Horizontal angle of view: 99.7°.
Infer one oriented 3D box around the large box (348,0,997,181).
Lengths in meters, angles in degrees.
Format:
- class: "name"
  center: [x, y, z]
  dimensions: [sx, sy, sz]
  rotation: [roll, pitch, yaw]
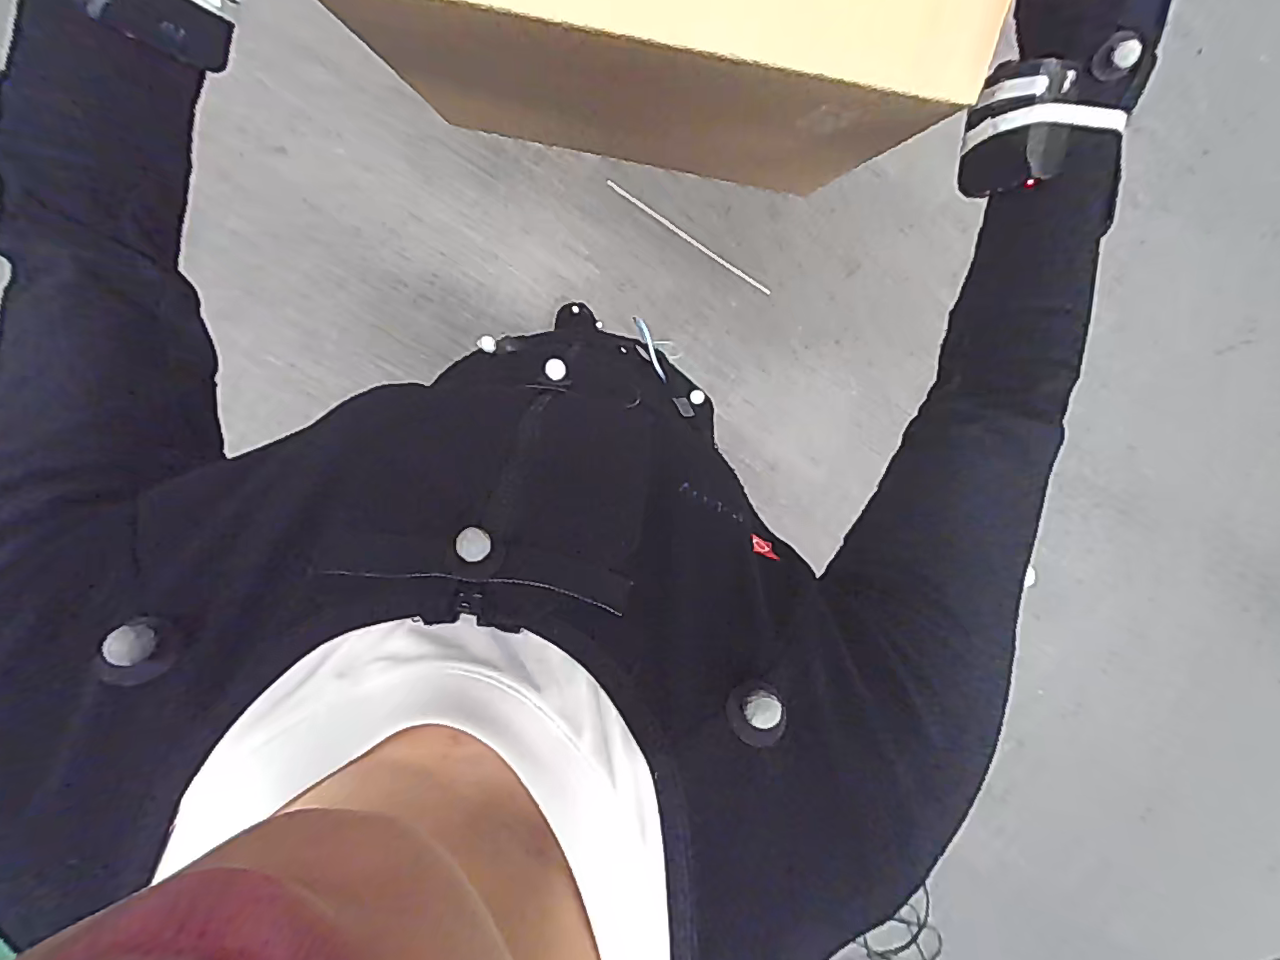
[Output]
- class: "large box"
  center: [0.020, -0.453, 0.406]
  dimensions: [0.408, 0.320, 0.320]
  rotation: [7, 109, -6]
